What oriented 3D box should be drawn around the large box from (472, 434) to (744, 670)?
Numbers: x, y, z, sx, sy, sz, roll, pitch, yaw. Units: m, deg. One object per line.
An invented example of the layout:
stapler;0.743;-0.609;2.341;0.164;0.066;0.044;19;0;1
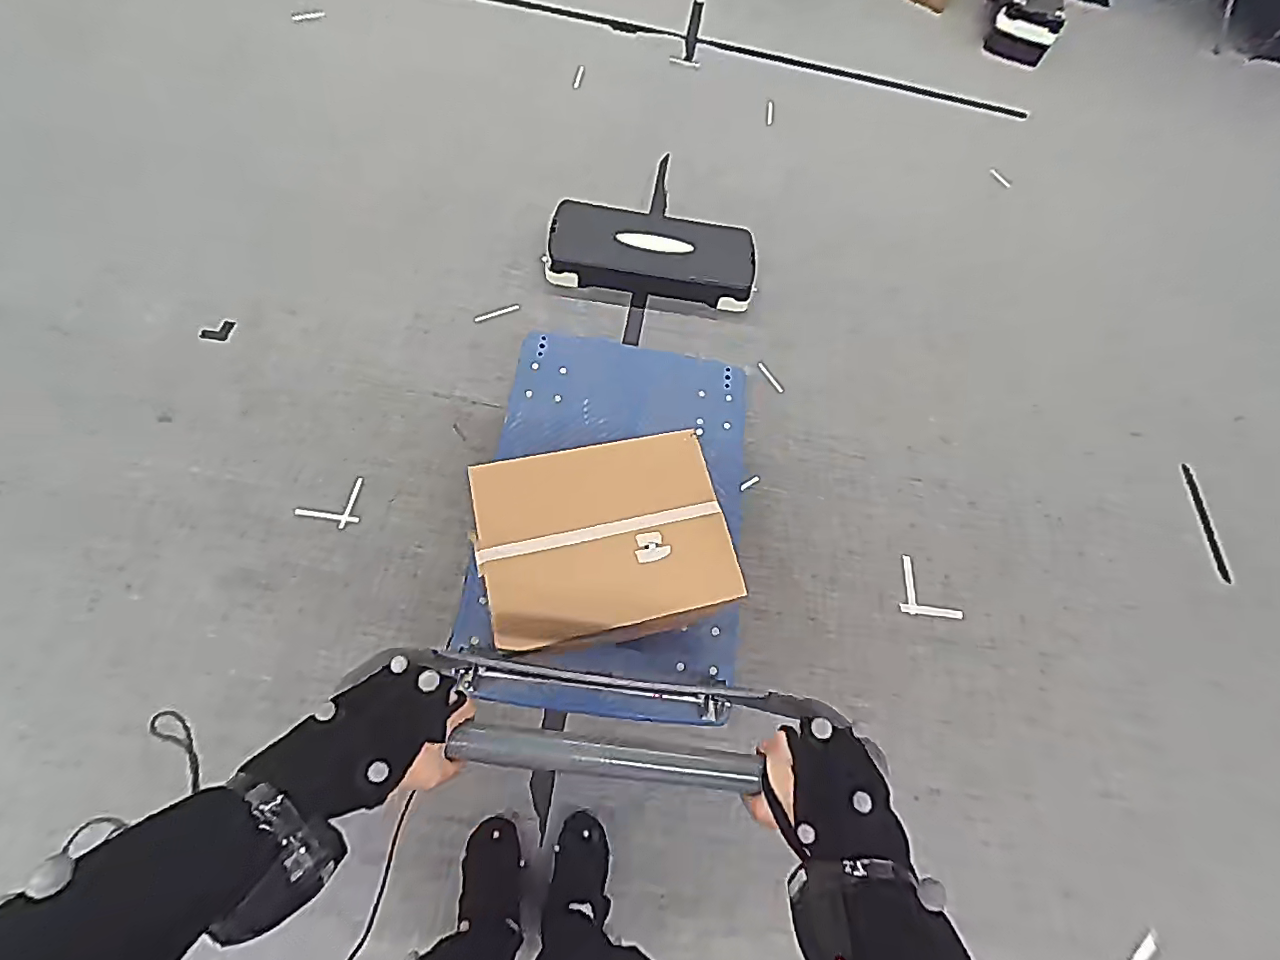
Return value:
large box;-0.077;0.147;1.032;0.408;0.320;0.320;-10;70;-13
